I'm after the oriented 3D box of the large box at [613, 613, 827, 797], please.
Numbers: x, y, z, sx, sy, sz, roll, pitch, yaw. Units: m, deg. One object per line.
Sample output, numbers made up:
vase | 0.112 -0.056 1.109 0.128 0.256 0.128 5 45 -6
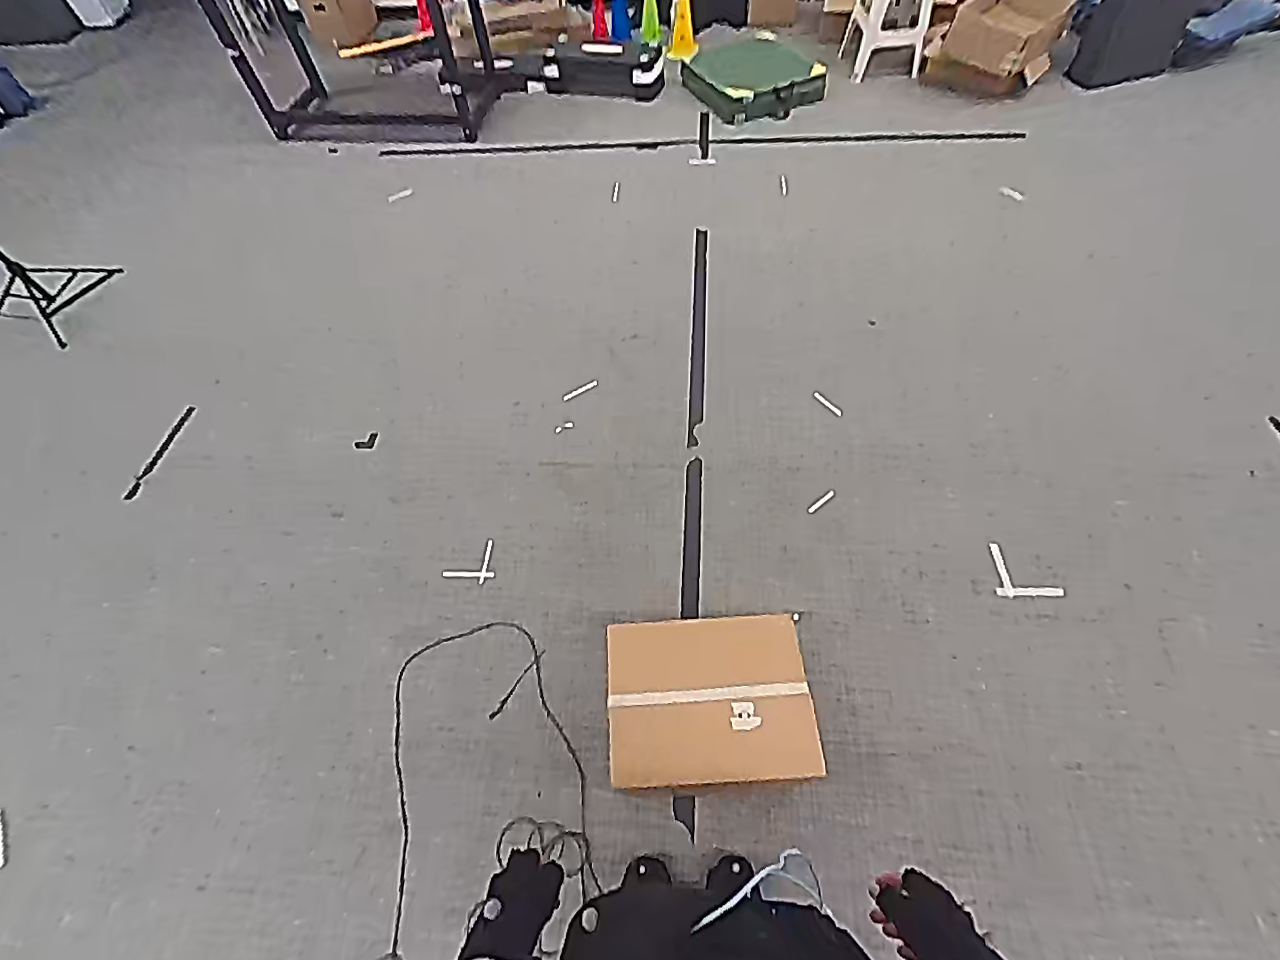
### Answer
large box | 0.152 0.514 1.219 0.408 0.320 0.320 -4 57 1
